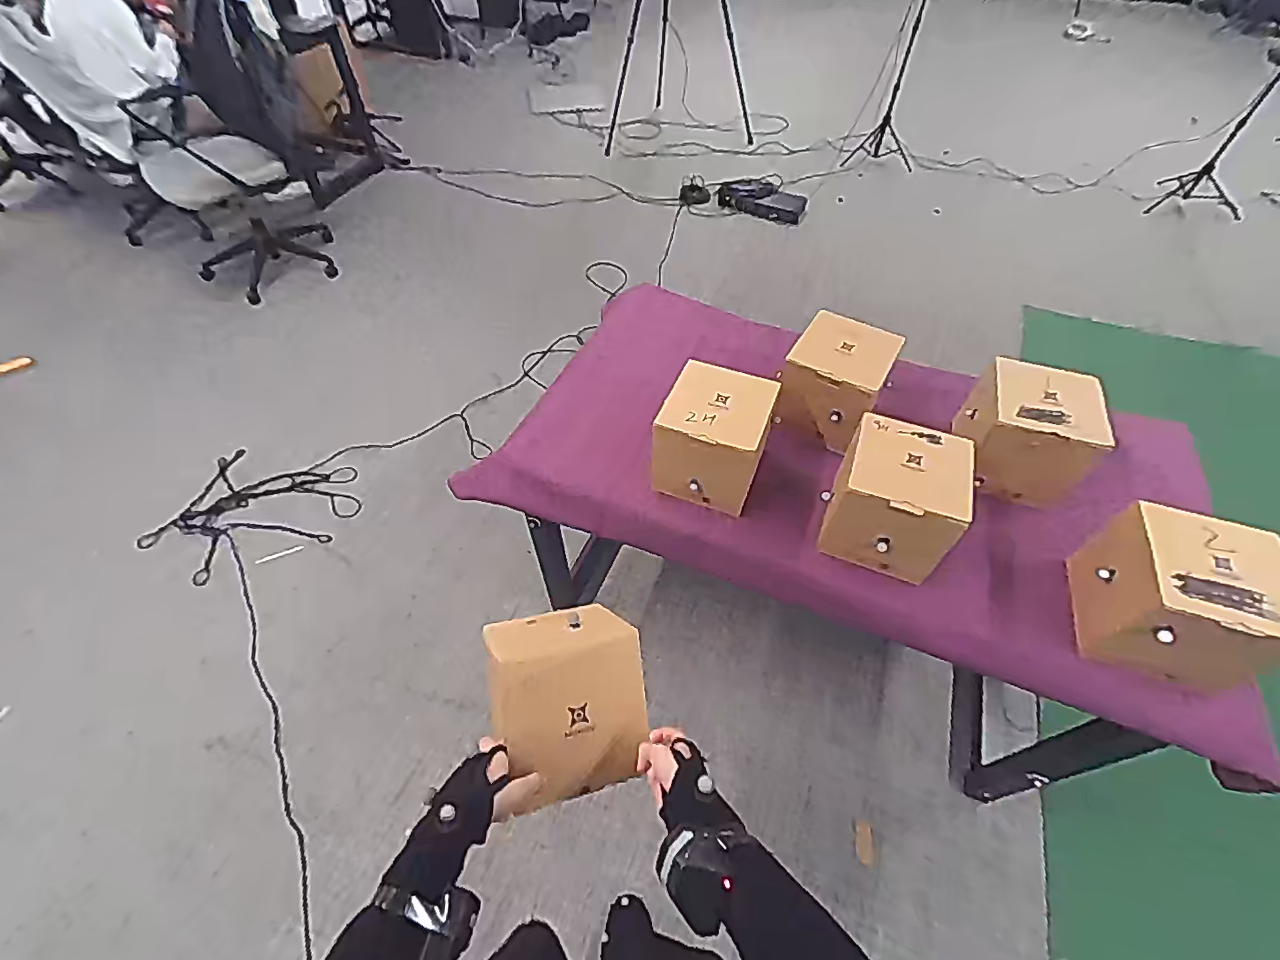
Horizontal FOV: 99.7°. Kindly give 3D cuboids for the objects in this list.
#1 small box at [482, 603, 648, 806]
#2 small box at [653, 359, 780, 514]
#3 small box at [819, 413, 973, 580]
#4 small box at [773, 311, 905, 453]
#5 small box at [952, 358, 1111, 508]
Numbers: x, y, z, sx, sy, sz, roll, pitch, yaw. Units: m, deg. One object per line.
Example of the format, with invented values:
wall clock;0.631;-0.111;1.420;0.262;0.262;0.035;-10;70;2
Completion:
small box;-0.103;0.260;0.681;0.168;0.176;0.179;-6;91;-20
small box;0.125;-0.074;0.930;0.168;0.176;0.179;18;53;14
small box;0.394;0.030;0.850;0.168;0.176;0.179;19;53;14
small box;0.364;-0.182;1.021;0.168;0.176;0.179;28;56;19
small box;0.662;-0.078;0.939;0.168;0.176;0.179;17;52;13
